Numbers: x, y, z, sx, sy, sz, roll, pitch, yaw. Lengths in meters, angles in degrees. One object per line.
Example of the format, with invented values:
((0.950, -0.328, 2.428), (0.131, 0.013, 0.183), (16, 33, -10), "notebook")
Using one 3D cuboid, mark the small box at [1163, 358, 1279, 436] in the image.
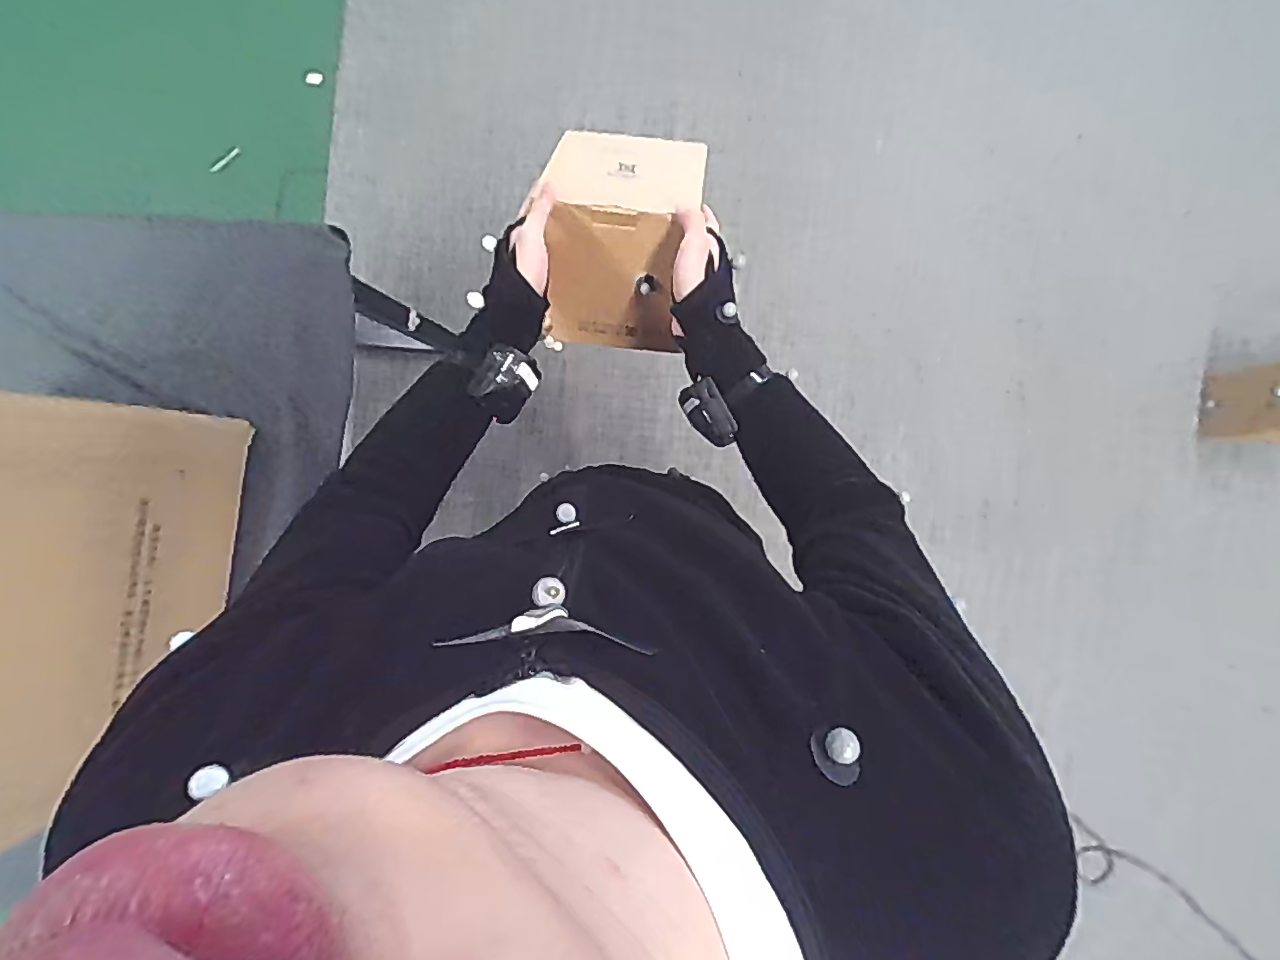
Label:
((1.502, -0.207, 1.387), (0.168, 0.176, 0.179), (3, 91, 4), "small box")
